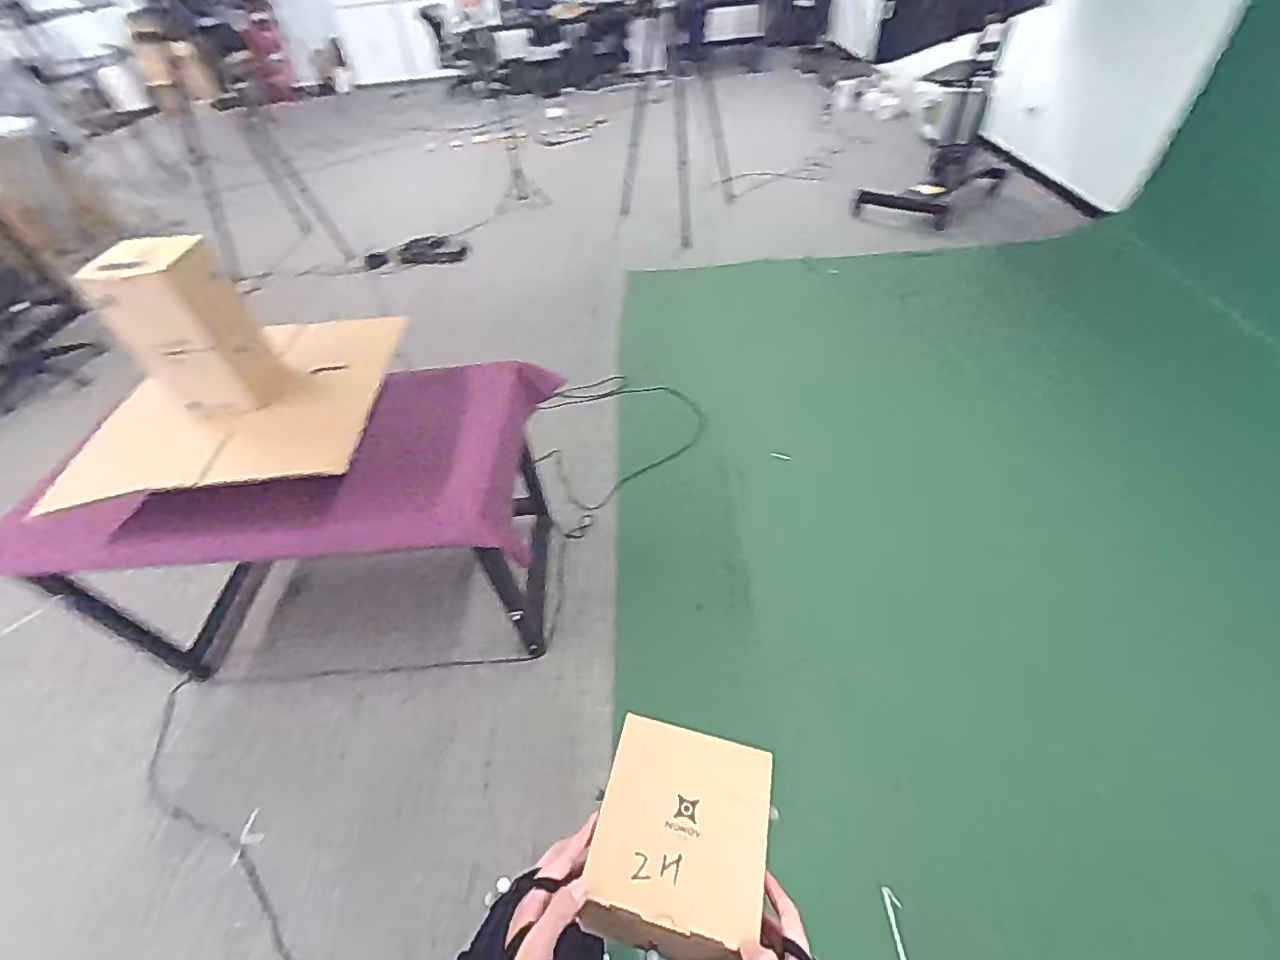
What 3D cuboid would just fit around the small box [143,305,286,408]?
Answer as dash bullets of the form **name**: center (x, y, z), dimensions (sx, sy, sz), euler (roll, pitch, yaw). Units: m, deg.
- **small box**: center (-0.957, -0.277, 1.240), dimensions (0.168, 0.176, 0.179), euler (-4, 46, -1)
